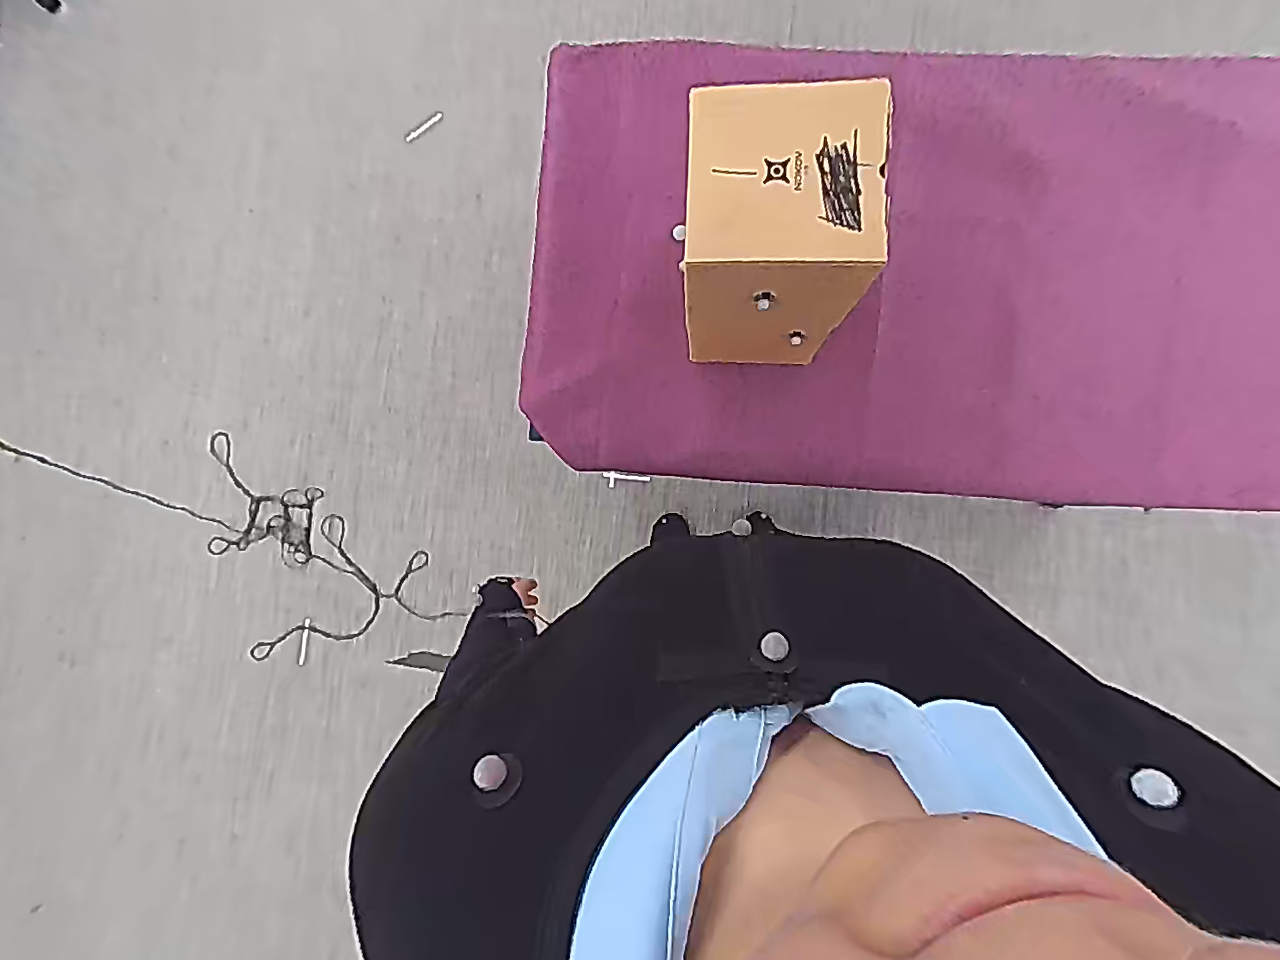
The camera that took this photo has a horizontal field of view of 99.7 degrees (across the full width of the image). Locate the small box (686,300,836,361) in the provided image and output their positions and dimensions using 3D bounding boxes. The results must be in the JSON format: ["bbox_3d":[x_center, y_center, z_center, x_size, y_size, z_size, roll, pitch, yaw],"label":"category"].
[{"bbox_3d":[0.155,-0.262,0.720,0.179,0.176,0.168,2,87,6],"label":"small box"}]

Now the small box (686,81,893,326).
[{"bbox_3d":[0.139,-0.267,0.556,0.179,0.176,0.168,2,86,6],"label":"small box"}]
